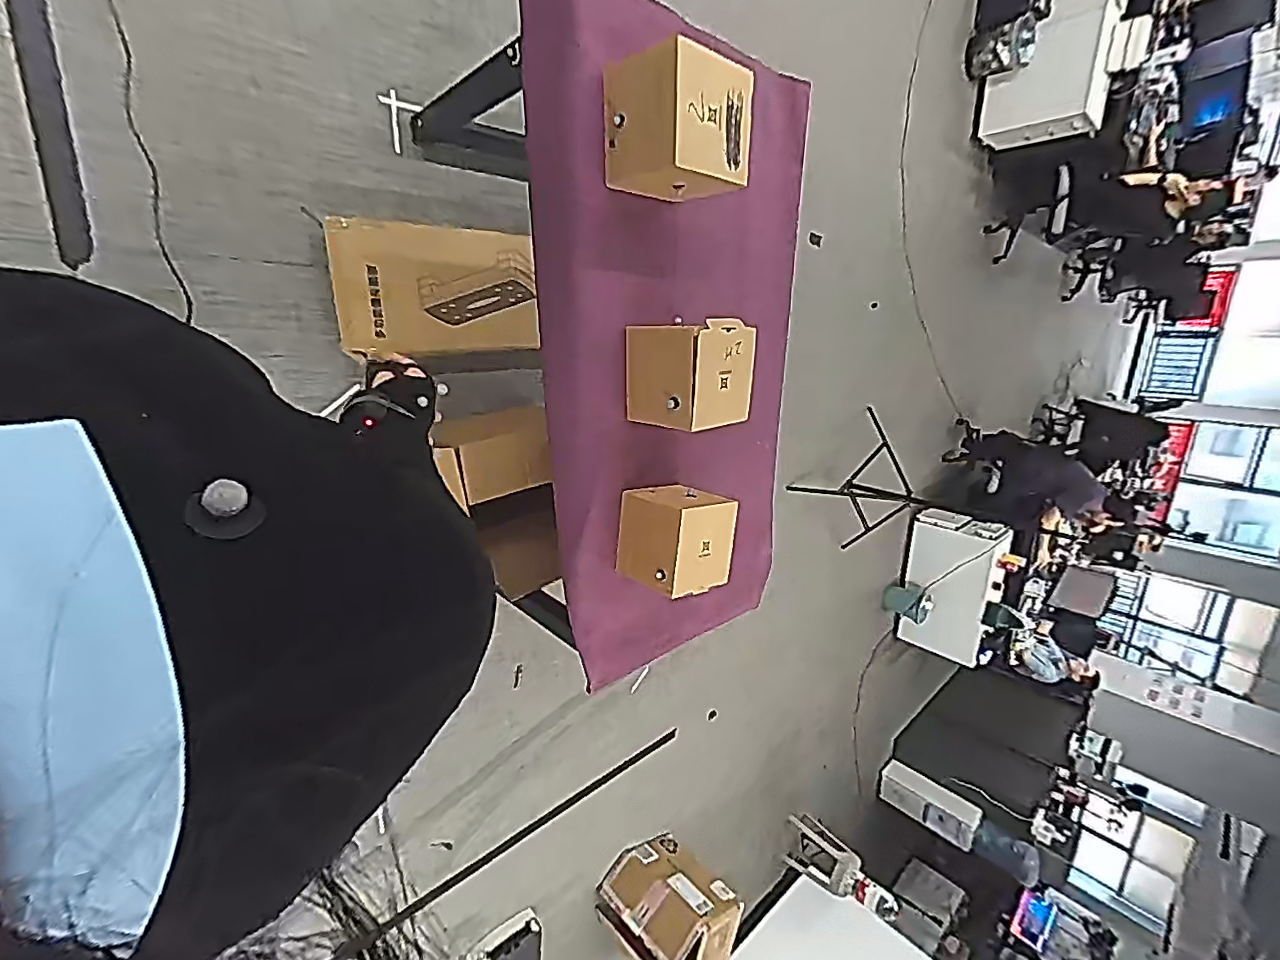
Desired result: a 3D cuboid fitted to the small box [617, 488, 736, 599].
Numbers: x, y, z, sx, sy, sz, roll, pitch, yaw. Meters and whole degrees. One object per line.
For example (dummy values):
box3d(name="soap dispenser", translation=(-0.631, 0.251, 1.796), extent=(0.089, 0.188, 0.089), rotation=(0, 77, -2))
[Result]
box3d(name="small box", translation=(0.069, 0.115, 1.087), extent=(0.168, 0.176, 0.179), rotation=(-5, 106, -43))

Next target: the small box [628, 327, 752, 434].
box3d(name="small box", translation=(0.089, -0.194, 1.013), extent=(0.168, 0.176, 0.179), rotation=(-16, 112, -43))
